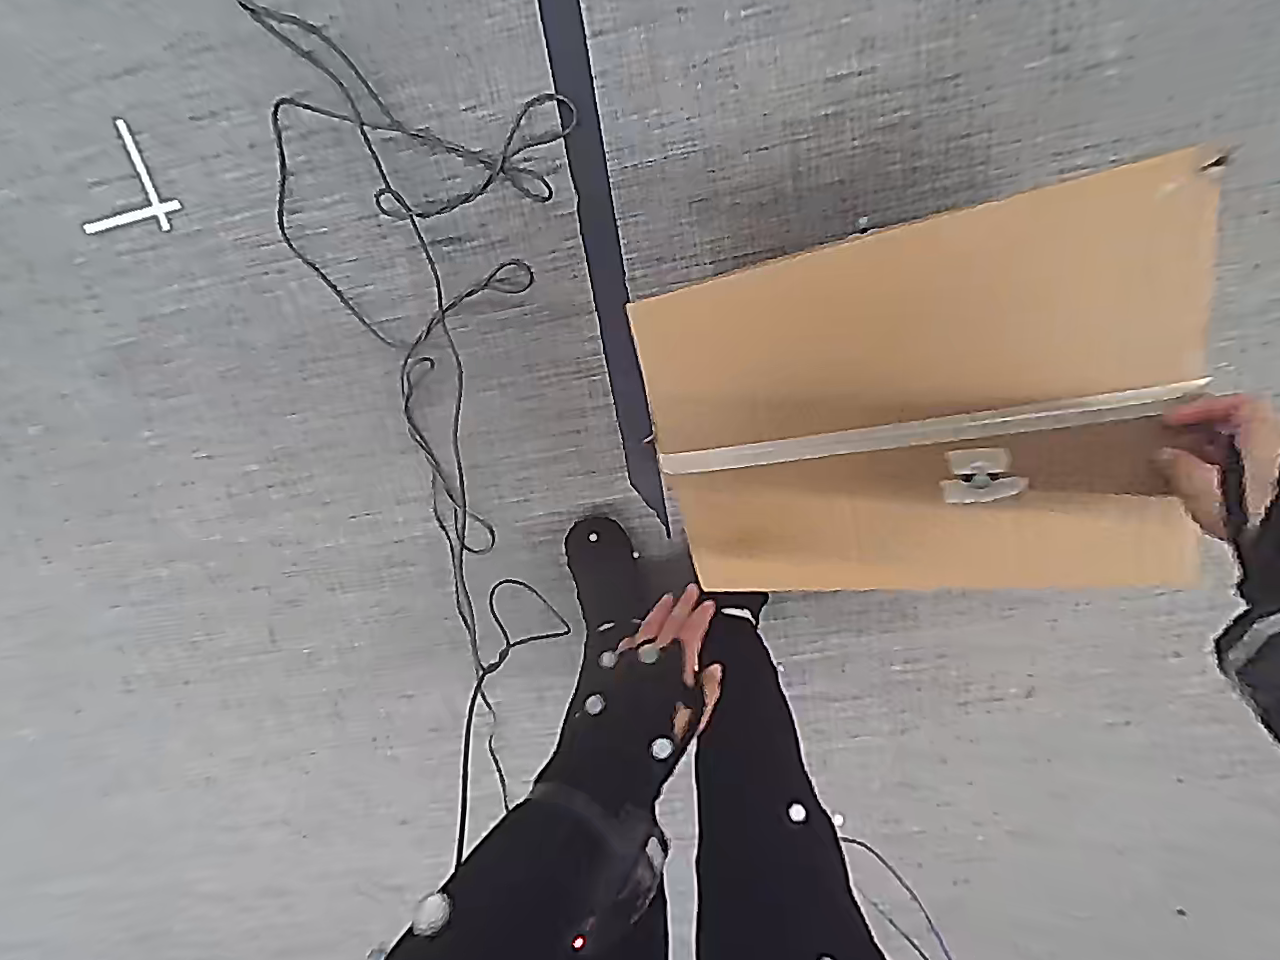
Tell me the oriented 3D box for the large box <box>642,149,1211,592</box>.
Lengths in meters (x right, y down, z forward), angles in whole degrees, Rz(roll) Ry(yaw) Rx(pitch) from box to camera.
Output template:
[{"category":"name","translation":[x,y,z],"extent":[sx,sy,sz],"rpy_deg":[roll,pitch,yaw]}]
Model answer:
[{"category":"large box","translation":[0.268,-0.099,0.592],"extent":[0.408,0.320,0.320],"rpy_deg":[-7,110,24]}]
